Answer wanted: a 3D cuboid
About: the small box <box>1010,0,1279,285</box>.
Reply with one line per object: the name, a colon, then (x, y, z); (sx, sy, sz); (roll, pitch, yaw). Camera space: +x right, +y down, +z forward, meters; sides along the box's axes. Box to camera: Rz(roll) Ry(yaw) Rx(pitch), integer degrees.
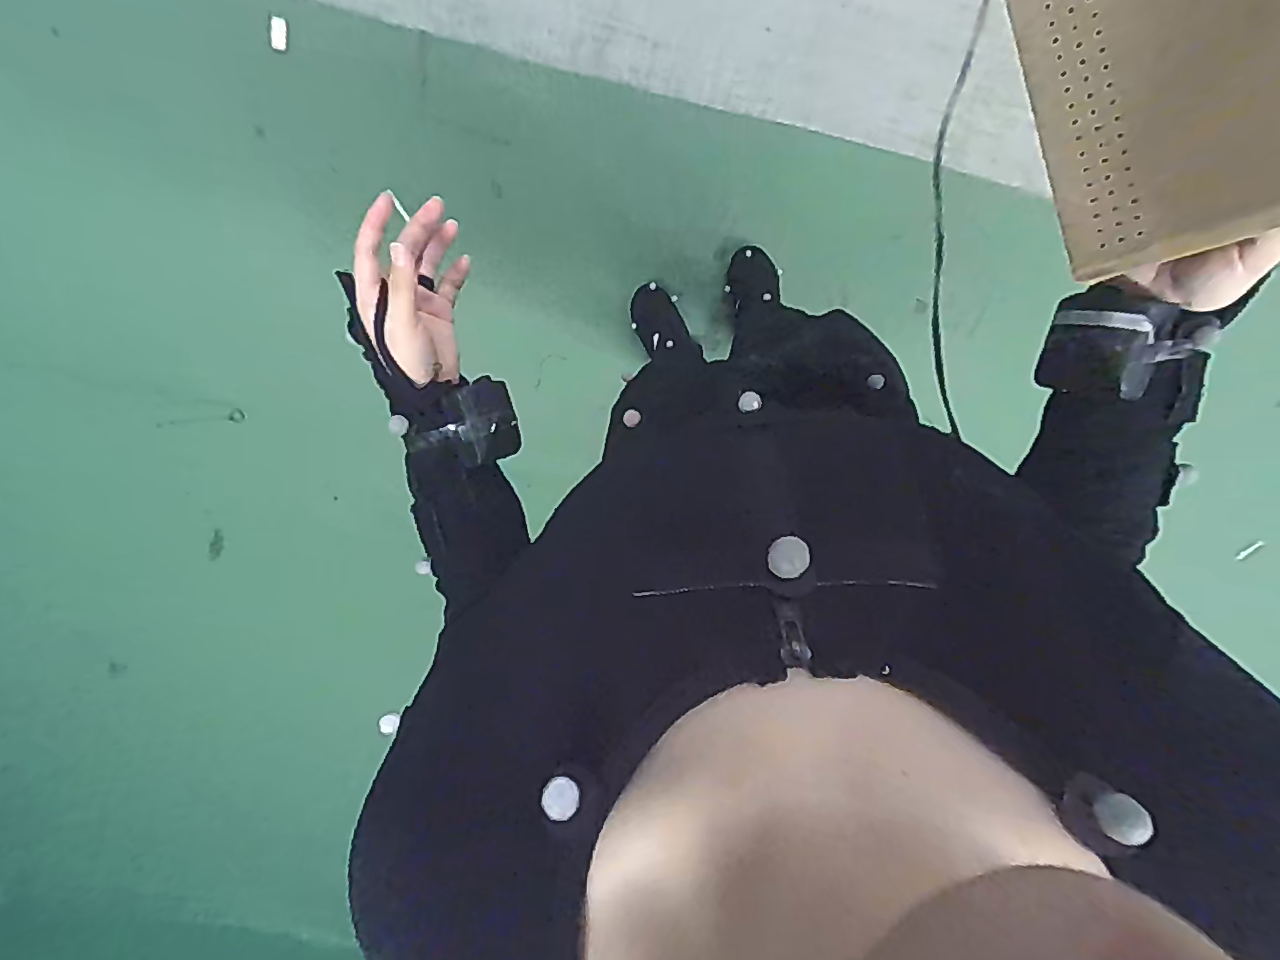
small box: (0.267, -0.197, 0.187); (0.168, 0.176, 0.179); (-26, 100, -18)
